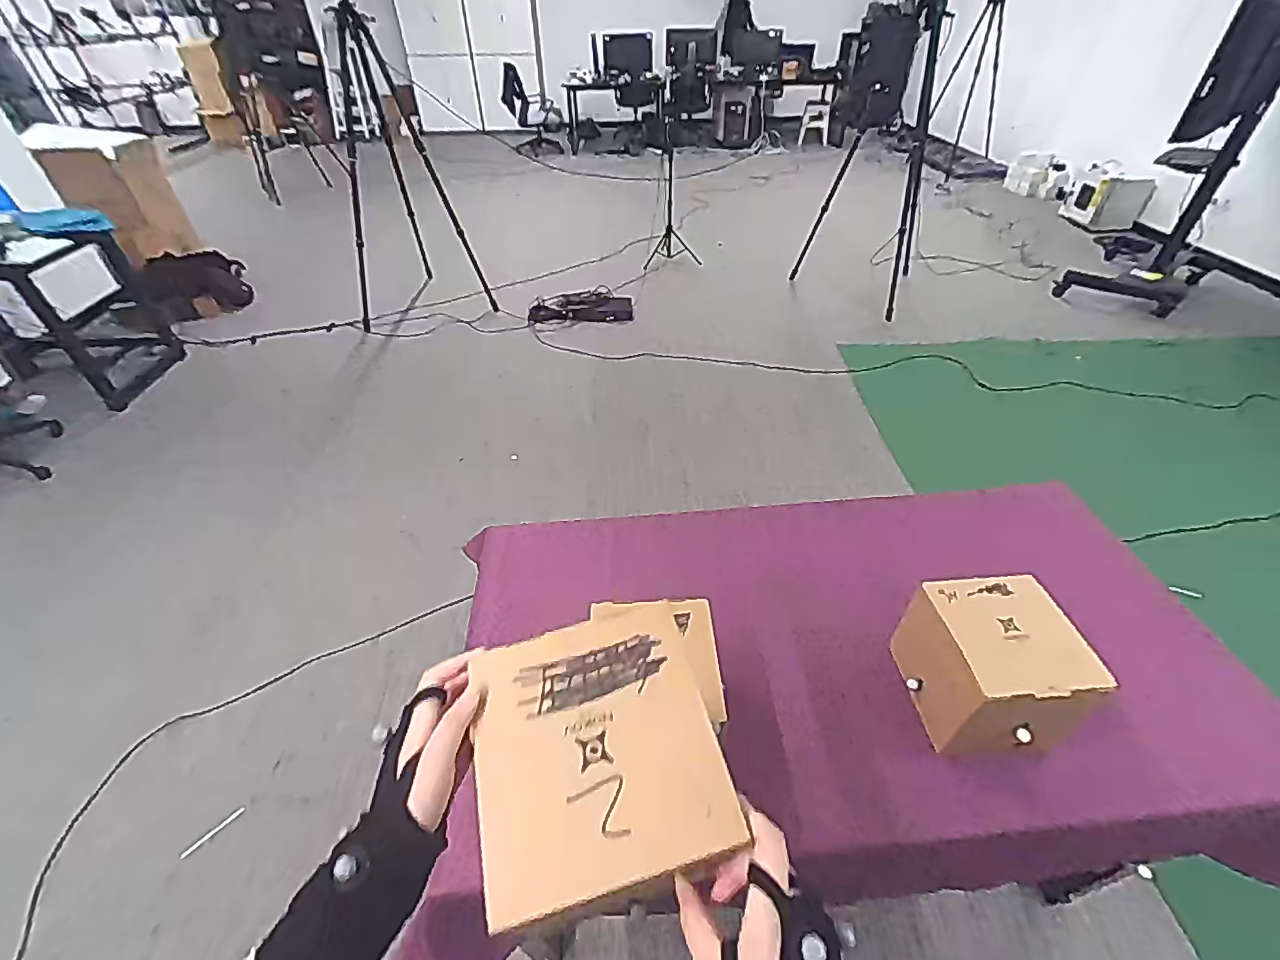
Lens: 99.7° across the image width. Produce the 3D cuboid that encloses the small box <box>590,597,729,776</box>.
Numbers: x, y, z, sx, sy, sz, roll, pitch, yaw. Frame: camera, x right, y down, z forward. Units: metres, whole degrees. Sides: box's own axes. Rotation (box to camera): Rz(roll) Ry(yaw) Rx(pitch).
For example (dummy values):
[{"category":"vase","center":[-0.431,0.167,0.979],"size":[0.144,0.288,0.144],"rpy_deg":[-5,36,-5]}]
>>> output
[{"category":"small box","center":[0.021,0.282,0.742],"size":[0.168,0.176,0.179],"rpy_deg":[-2,43,-1]}]

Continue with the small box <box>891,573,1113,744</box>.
[{"category":"small box","center":[0.486,0.254,0.761],"size":[0.168,0.176,0.179],"rpy_deg":[-3,43,-2]}]
